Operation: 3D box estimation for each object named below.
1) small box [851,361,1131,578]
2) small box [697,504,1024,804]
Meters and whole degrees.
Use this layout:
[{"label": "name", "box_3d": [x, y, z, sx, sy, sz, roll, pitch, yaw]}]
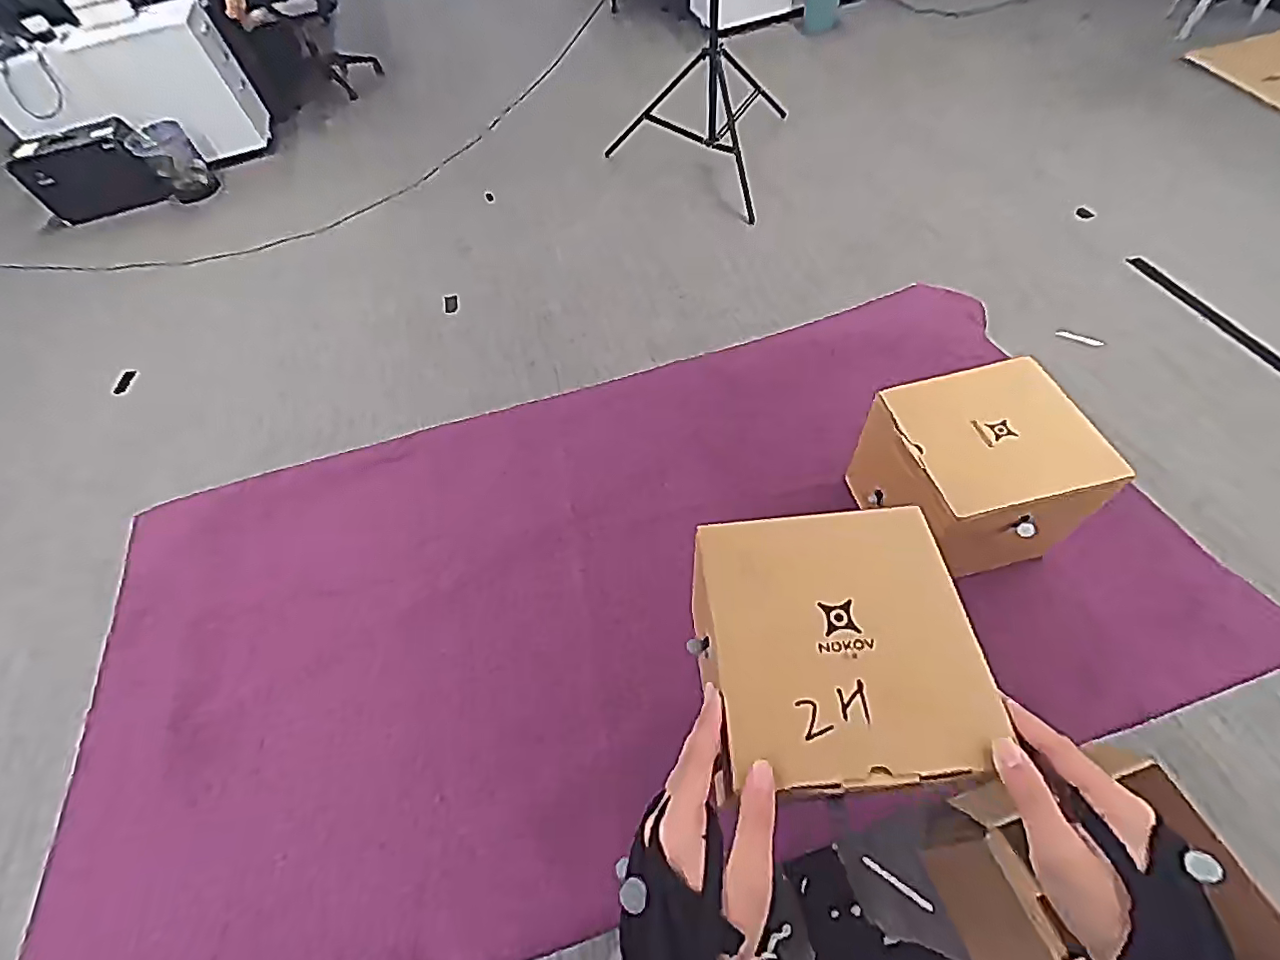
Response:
[{"label": "small box", "box_3d": [0.364, -0.001, 0.606, 0.179, 0.176, 0.168, -14, 56, -1]}, {"label": "small box", "box_3d": [0.136, 0.140, 0.419, 0.168, 0.176, 0.179, -6, 57, 1]}]
